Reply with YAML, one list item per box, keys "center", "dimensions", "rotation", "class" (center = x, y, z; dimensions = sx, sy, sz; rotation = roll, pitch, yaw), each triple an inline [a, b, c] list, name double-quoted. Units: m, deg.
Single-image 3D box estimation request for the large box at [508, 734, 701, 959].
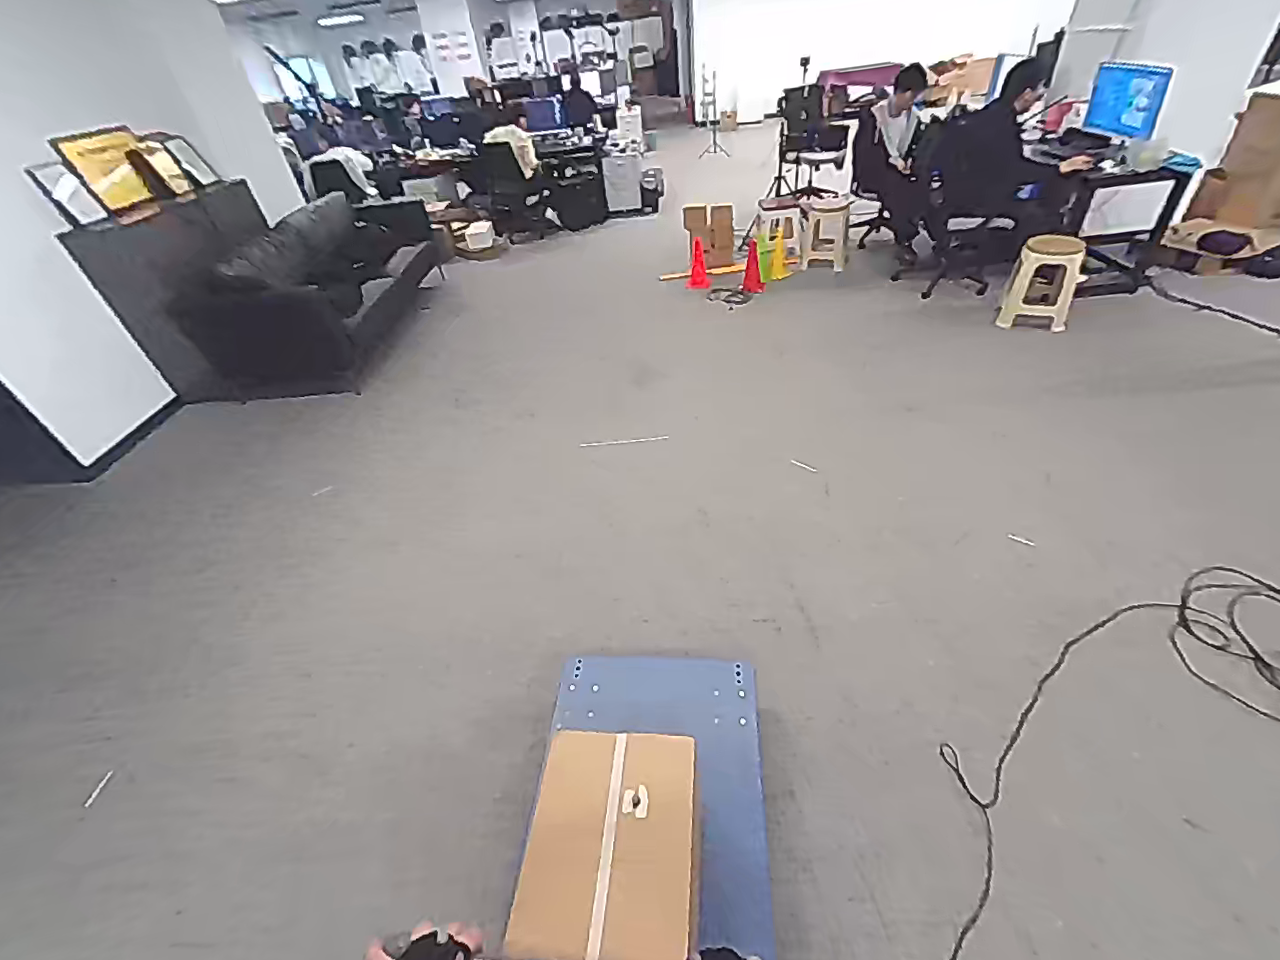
- center: [-0.037, 0.798, 1.111]
  dimensions: [0.320, 0.320, 0.408]
  rotation: [-1, 38, 8]
  class: "large box"
